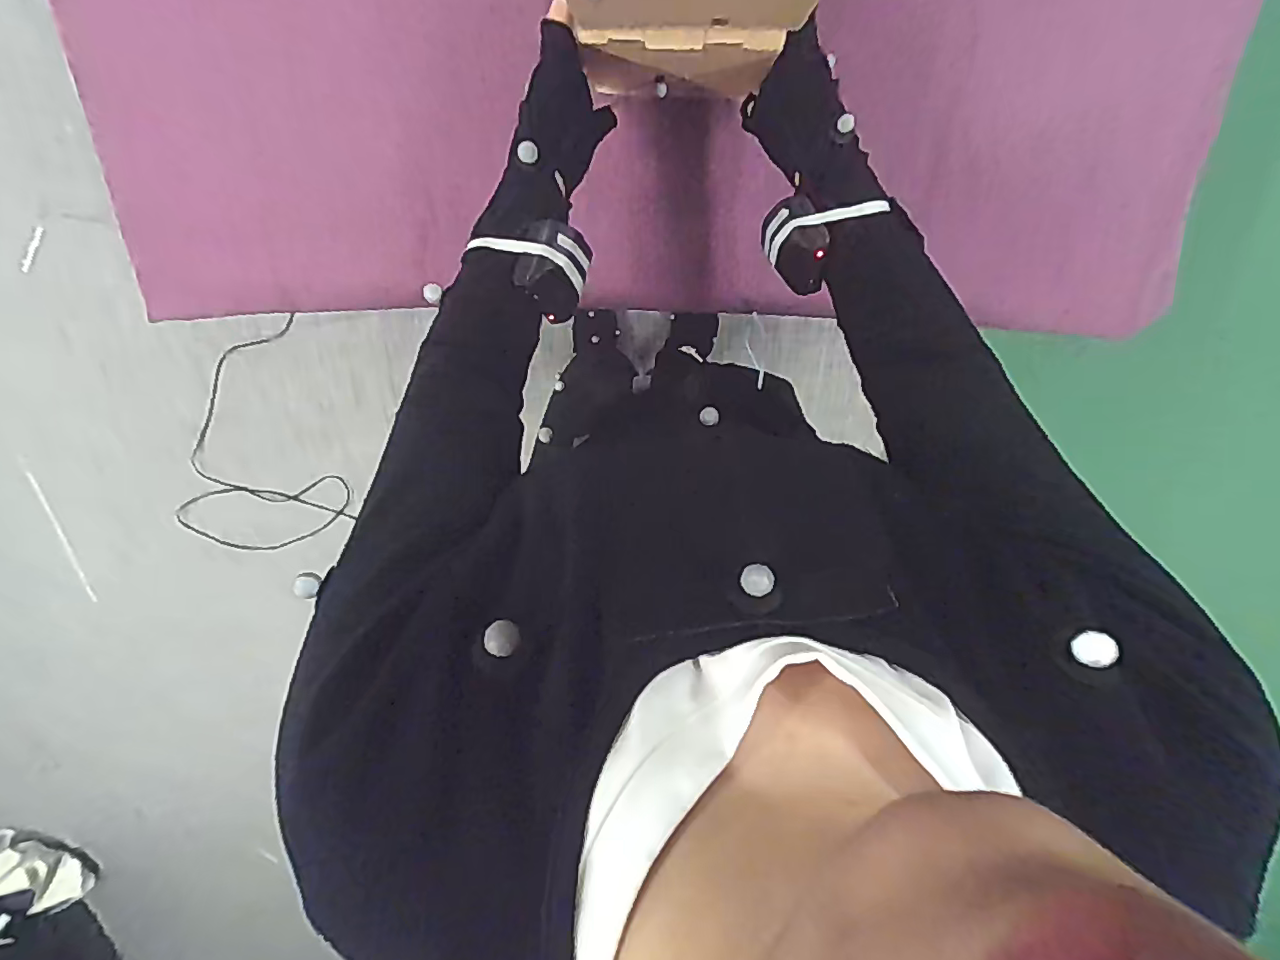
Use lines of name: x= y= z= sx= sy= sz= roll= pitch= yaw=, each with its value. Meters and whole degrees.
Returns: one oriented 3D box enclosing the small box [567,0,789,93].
small box: x=0.036 y=-0.443 z=0.443 sx=0.168 sy=0.176 sz=0.179 roll=4 pitch=117 yaw=2
